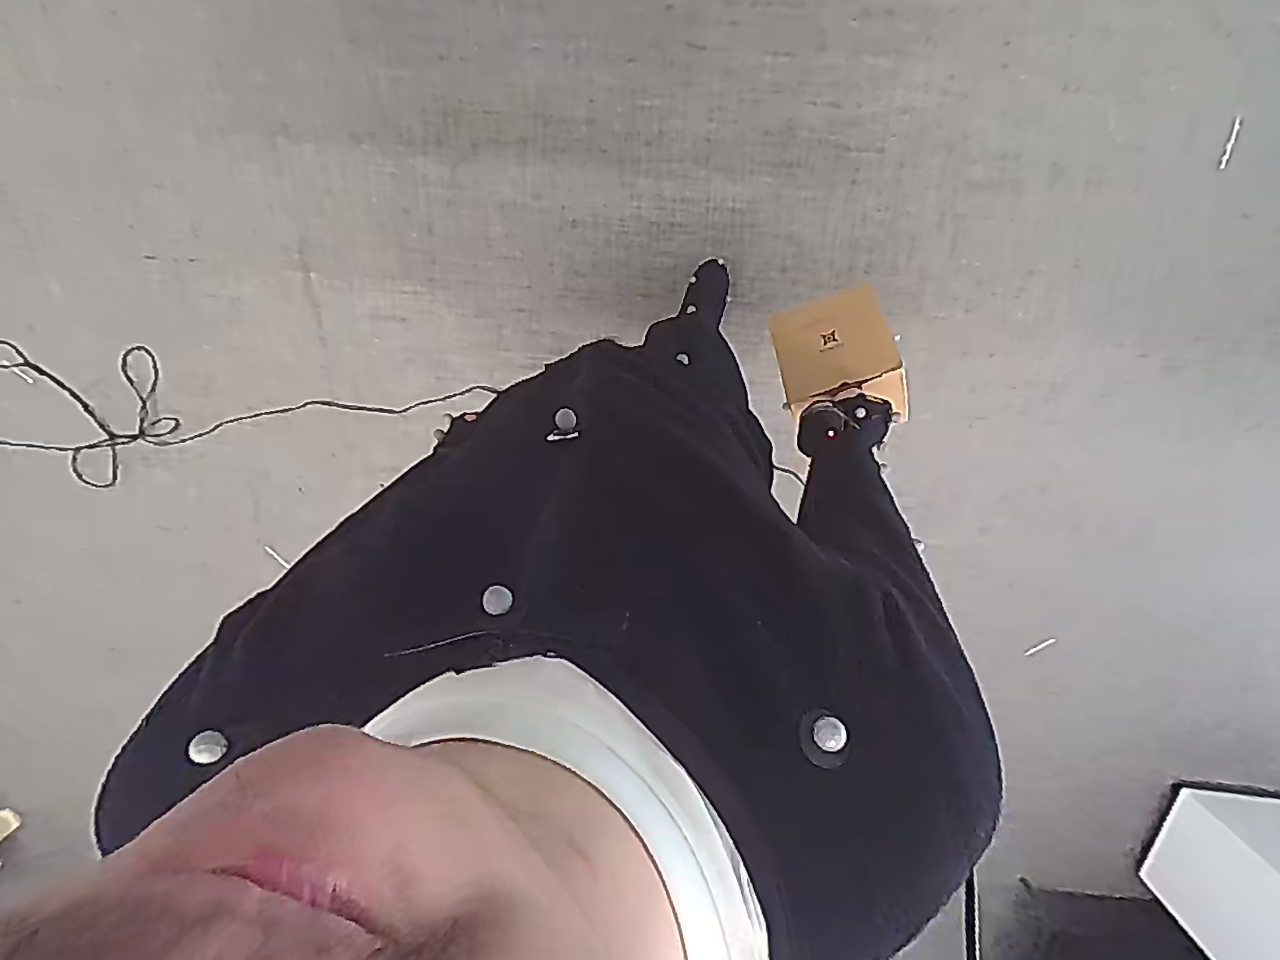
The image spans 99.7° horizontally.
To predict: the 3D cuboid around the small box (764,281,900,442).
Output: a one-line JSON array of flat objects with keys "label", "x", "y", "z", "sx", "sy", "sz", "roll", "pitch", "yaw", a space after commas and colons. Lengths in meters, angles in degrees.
[{"label": "small box", "x": 0.316, "y": -0.179, "z": 0.883, "sx": 0.168, "sy": 0.176, "sz": 0.179, "roll": -16, "pitch": 61, "yaw": 19}]
